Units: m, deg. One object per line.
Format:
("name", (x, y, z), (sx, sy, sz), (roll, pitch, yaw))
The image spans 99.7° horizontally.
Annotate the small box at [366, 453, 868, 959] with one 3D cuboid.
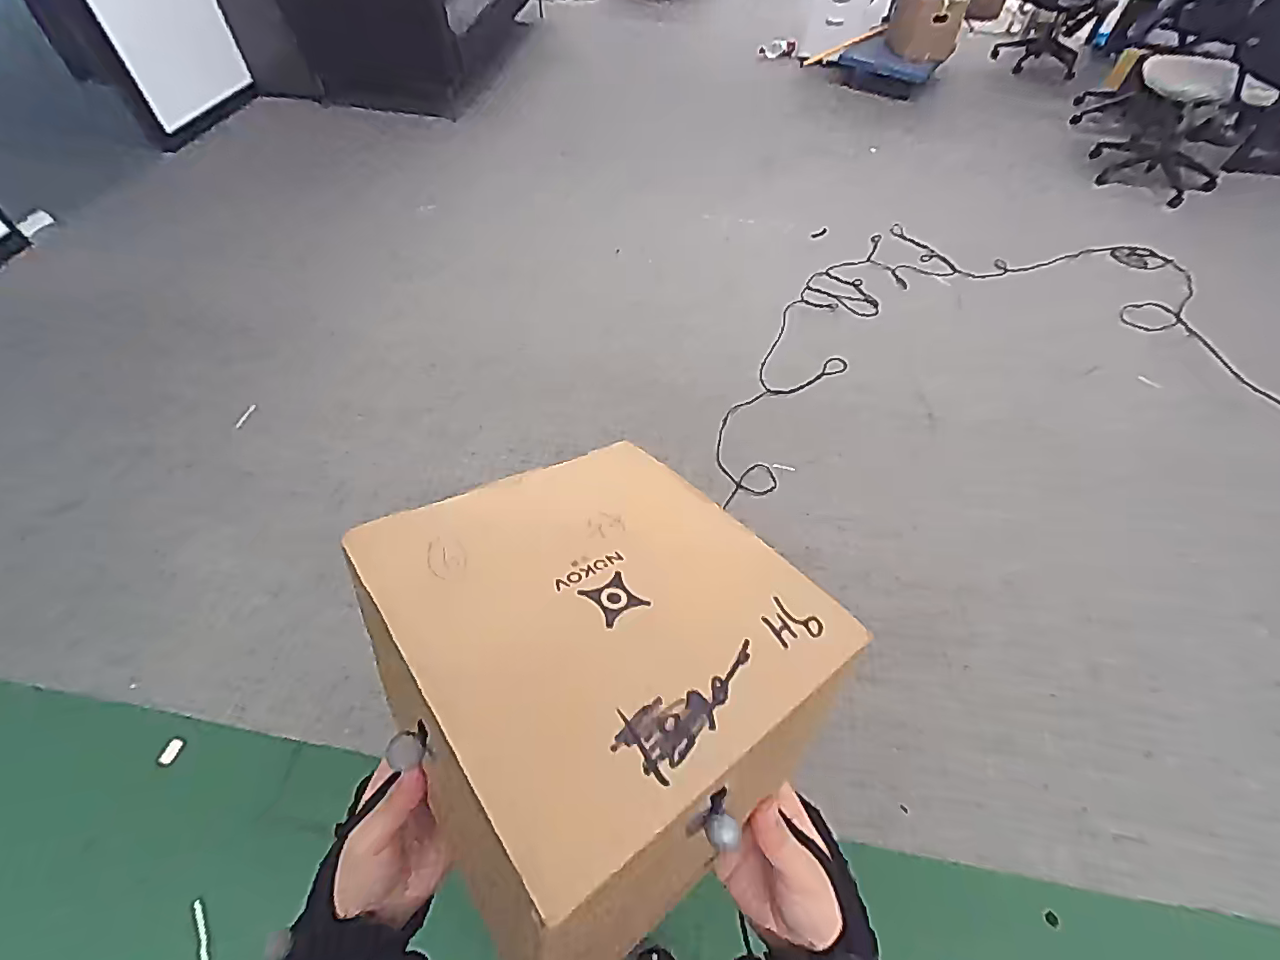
("small box", (-0.022, 0.116, 0.292), (0.168, 0.176, 0.179), (-23, 47, -34))
